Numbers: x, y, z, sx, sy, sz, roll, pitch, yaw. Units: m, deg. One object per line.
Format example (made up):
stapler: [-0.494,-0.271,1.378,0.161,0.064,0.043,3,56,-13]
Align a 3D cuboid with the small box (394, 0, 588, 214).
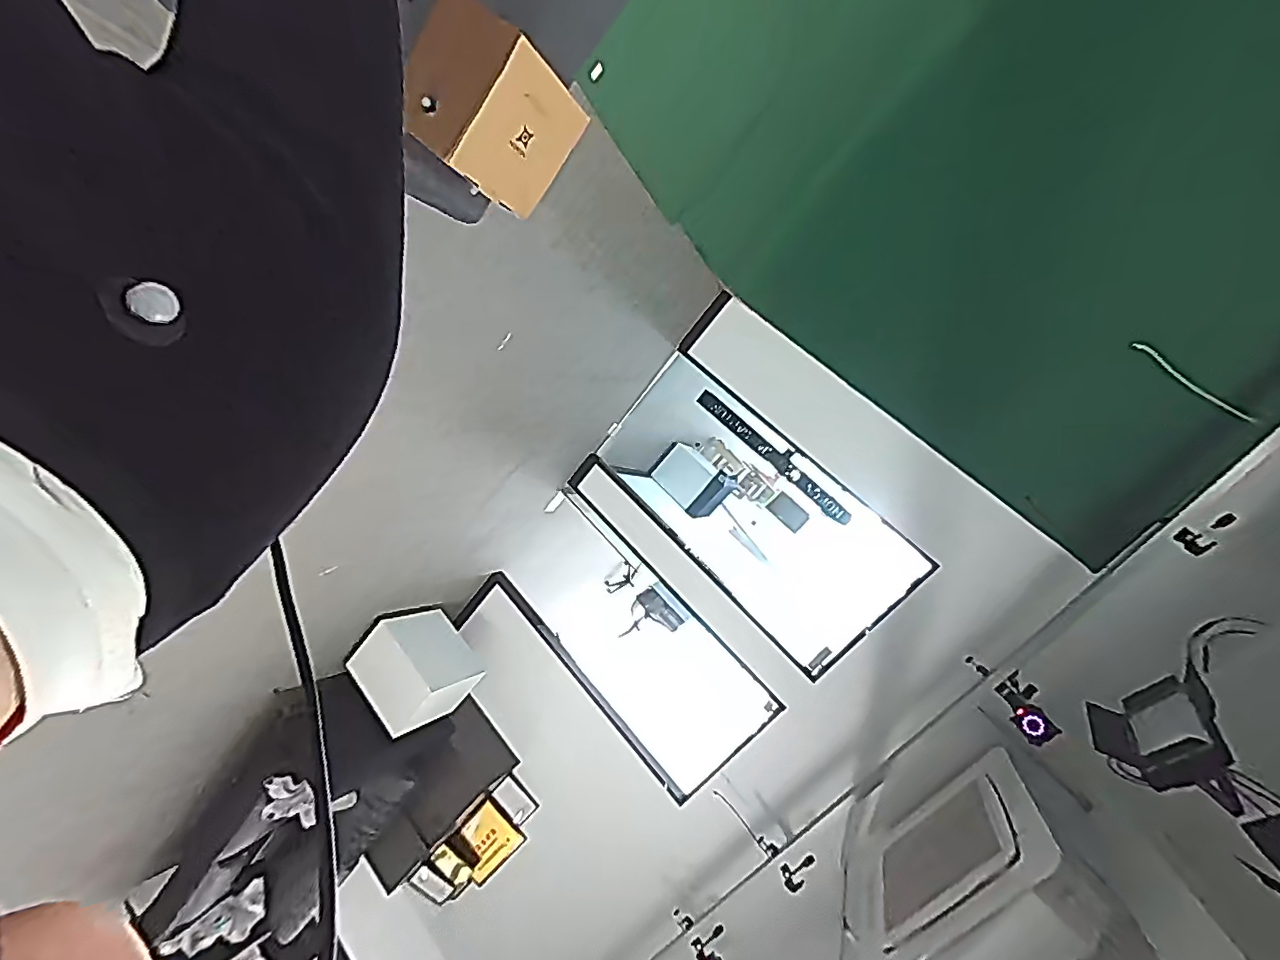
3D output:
small box: [-0.214,-0.529,0.765,0.179,0.176,0.168,-51,161,15]
